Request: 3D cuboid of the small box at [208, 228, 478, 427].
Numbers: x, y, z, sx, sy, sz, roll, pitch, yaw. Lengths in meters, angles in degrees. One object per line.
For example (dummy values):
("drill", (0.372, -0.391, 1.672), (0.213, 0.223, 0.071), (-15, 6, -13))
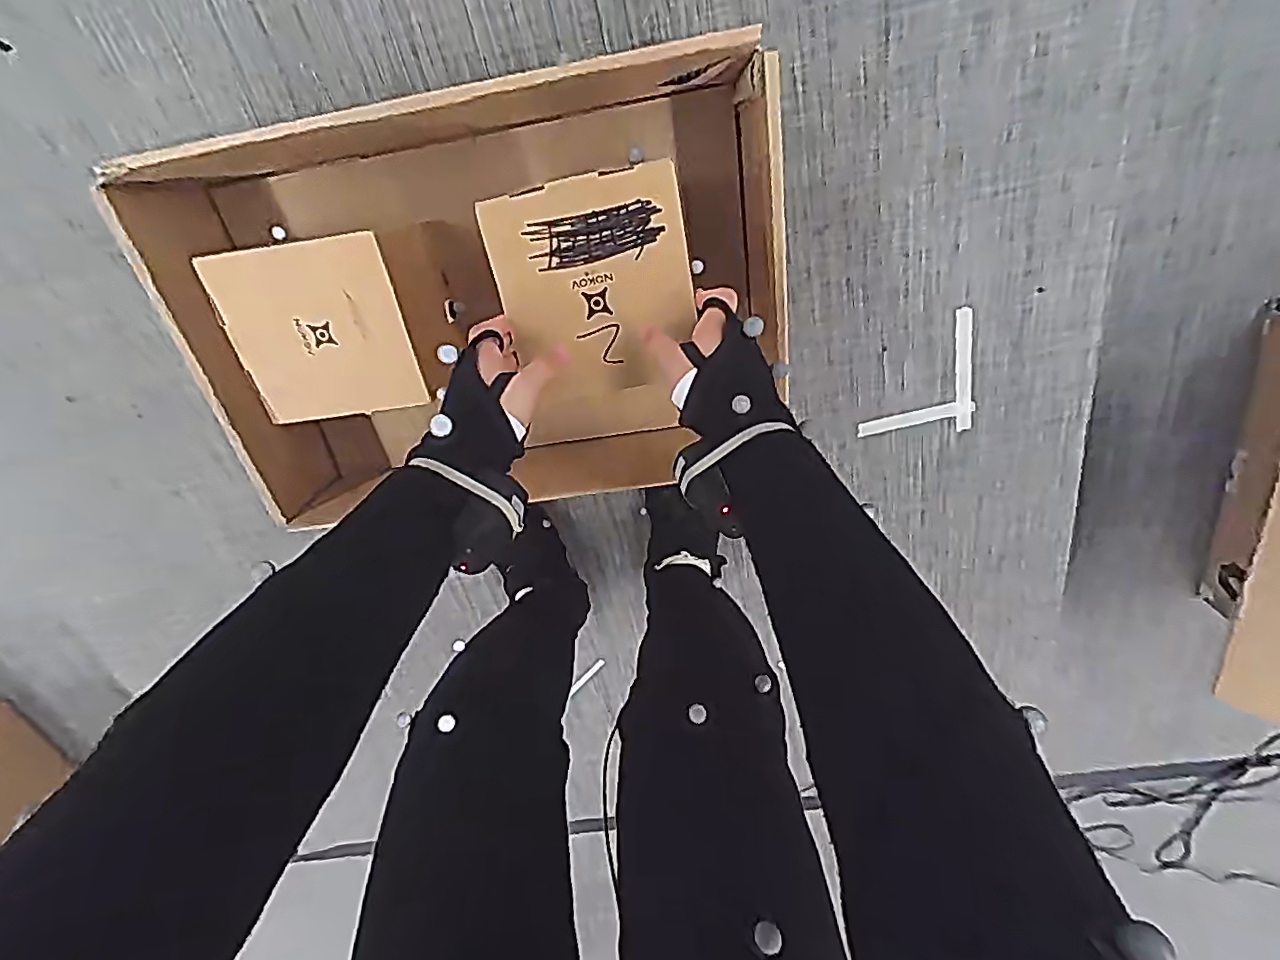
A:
("small box", (-0.304, -0.175, 0.599), (0.179, 0.176, 0.168), (-8, 119, 4))
